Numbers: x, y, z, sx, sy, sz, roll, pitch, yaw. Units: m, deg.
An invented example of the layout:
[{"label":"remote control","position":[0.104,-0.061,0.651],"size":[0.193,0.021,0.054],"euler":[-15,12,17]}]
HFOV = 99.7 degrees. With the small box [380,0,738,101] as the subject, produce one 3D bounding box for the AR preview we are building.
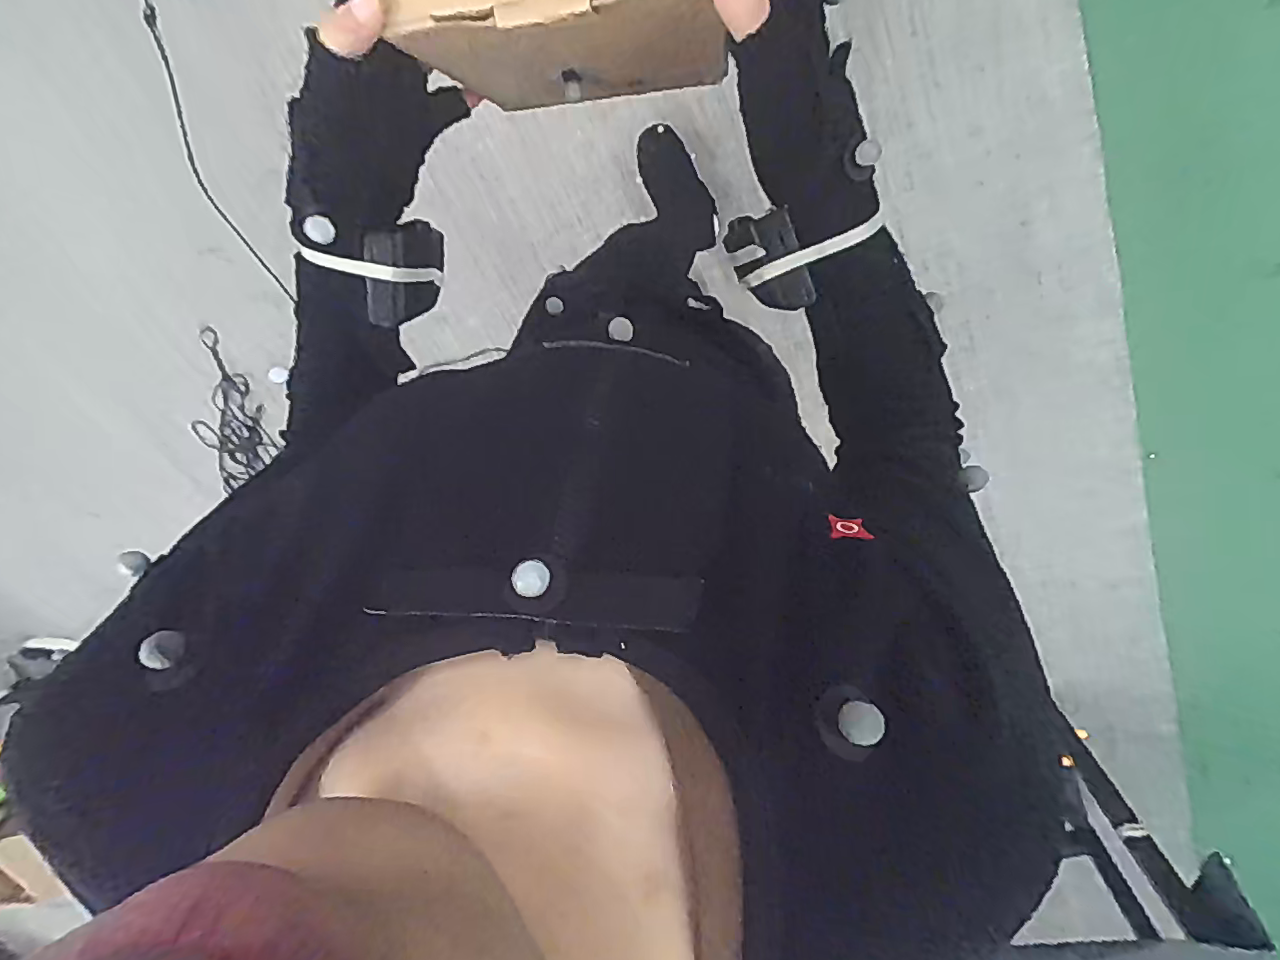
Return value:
[{"label":"small box","position":[-0.035,-0.324,0.276],"size":[0.168,0.176,0.179],"euler":[-1,114,9]}]
